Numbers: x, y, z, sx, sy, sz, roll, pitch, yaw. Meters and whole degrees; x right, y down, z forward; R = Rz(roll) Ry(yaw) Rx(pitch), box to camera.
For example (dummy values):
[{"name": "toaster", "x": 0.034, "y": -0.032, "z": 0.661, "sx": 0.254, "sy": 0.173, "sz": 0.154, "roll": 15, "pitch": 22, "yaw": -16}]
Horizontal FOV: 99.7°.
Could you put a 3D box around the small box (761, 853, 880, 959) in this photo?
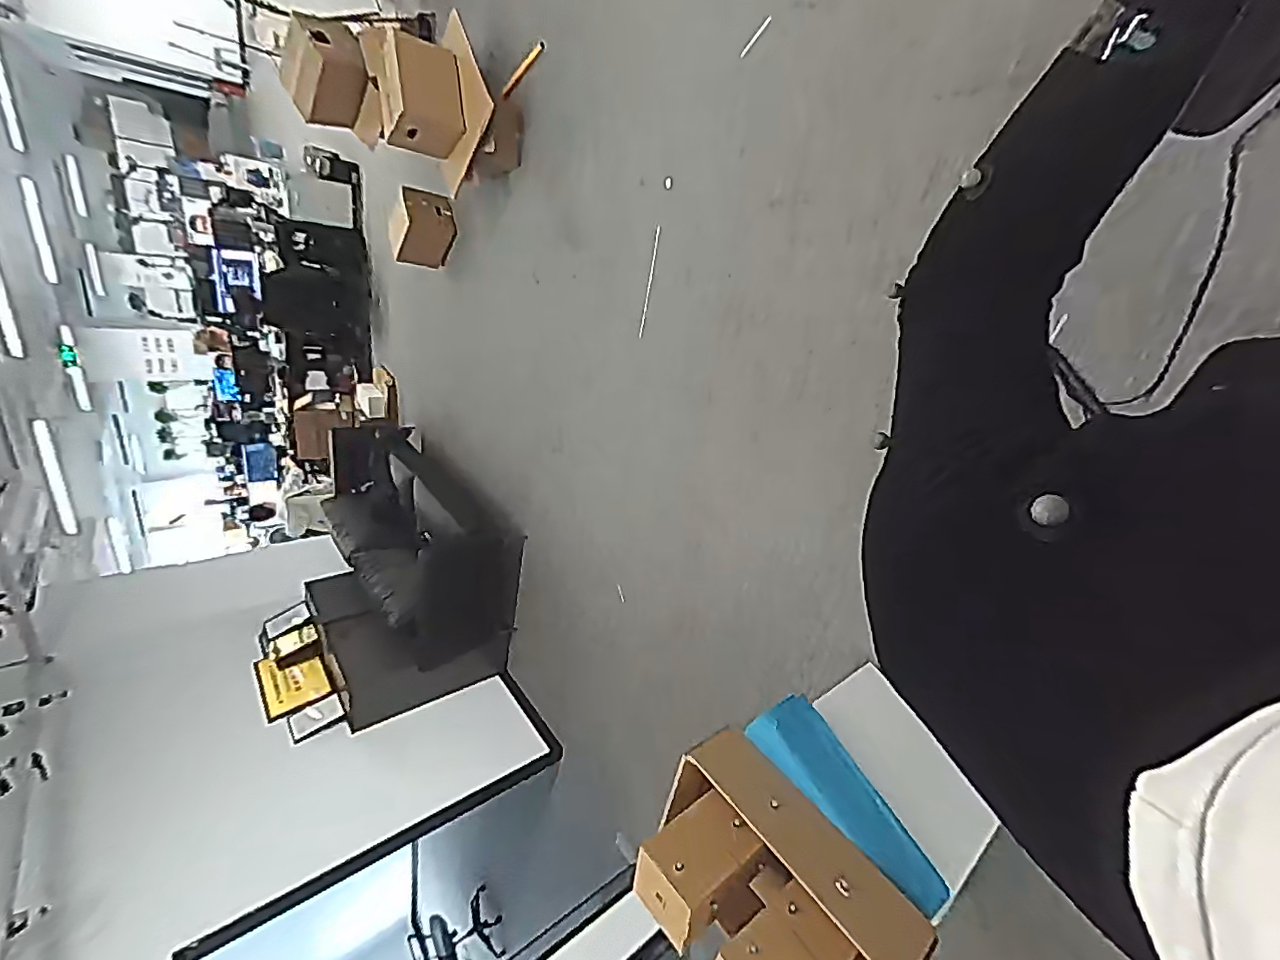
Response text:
[{"name": "small box", "x": 0.418, "y": 1.024, "z": 1.251, "sx": 0.179, "sy": 0.176, "sz": 0.168, "roll": 38, "pitch": 128, "yaw": 43}]

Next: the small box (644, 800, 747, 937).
[{"name": "small box", "x": 0.135, "y": 0.933, "z": 1.314, "sx": 0.179, "sy": 0.176, "sz": 0.168, "roll": 31, "pitch": 123, "yaw": 43}]
